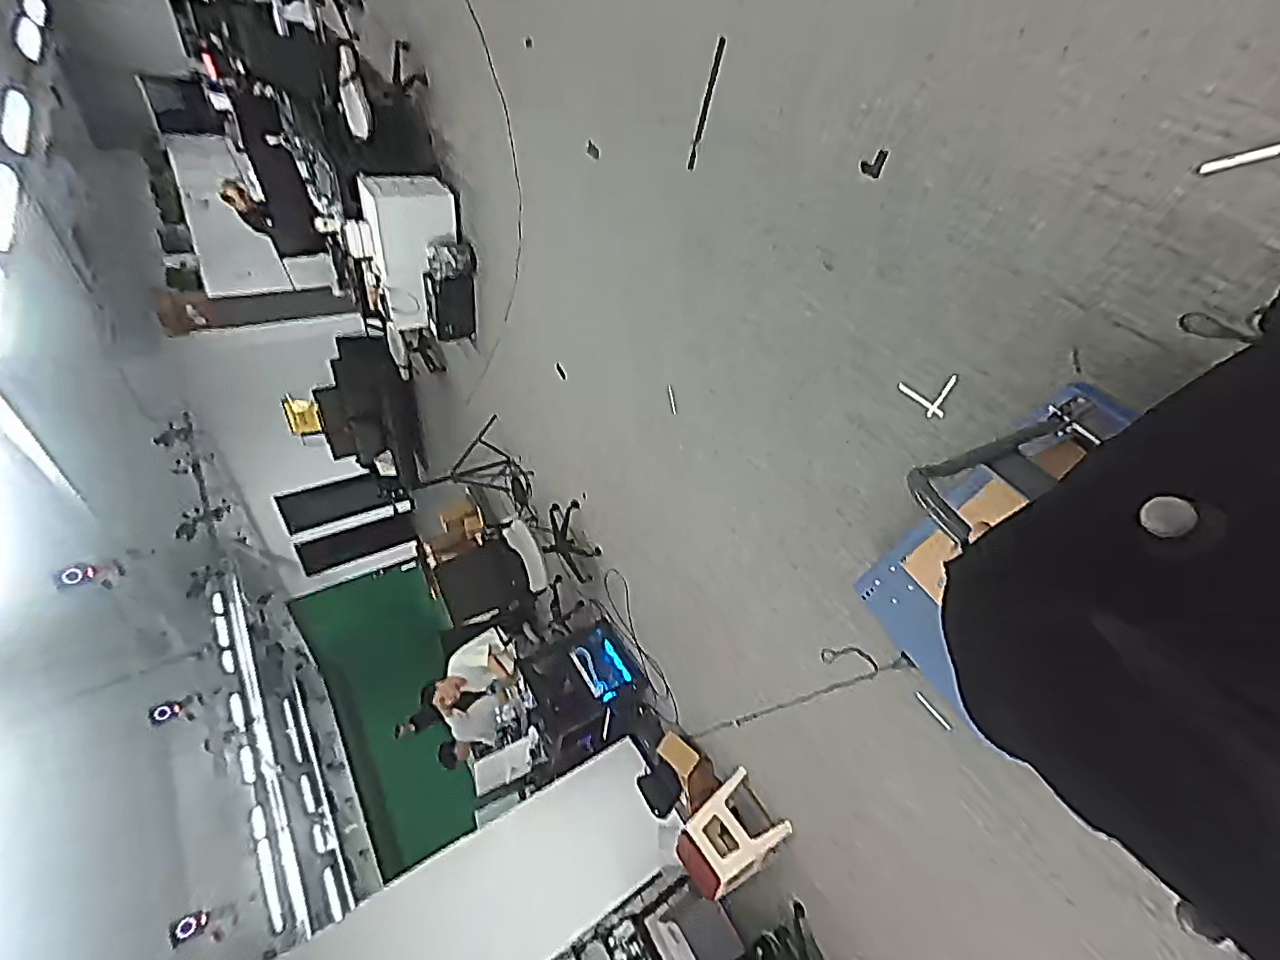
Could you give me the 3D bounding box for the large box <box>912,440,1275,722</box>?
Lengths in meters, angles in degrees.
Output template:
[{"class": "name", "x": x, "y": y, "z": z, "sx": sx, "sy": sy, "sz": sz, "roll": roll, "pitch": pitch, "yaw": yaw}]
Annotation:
[{"class": "large box", "x": 0.870, "y": 0.187, "z": 1.083, "sx": 0.408, "sy": 0.320, "sz": 0.320, "roll": 55, "pitch": 145, "yaw": 29}]
